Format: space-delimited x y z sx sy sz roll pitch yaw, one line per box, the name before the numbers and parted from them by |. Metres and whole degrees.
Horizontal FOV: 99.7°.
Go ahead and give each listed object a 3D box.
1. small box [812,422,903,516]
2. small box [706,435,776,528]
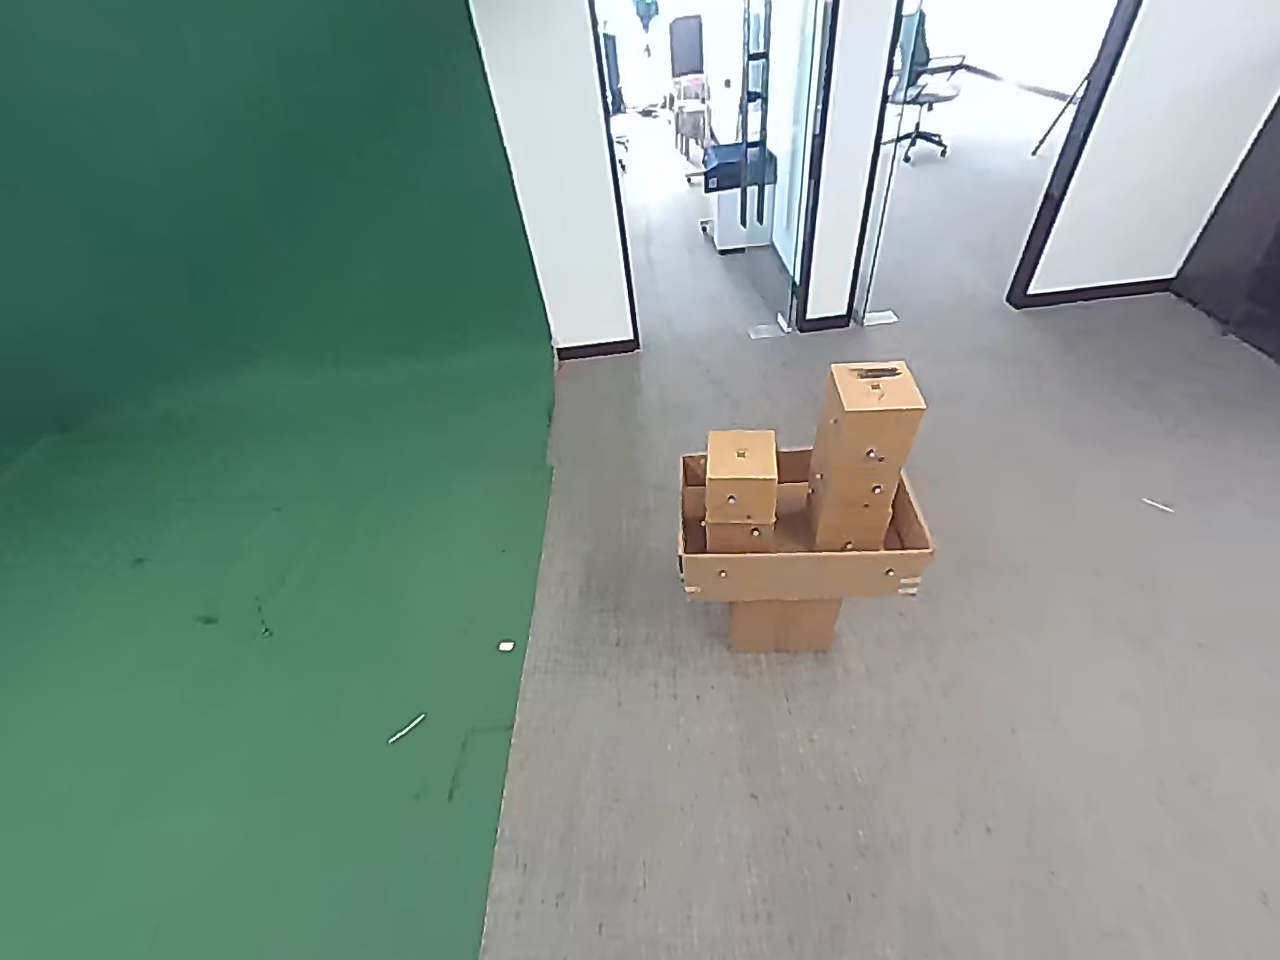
small box | 0.532 -0.024 1.349 0.168 0.176 0.179 -1 44 7
small box | 0.255 0.005 1.365 0.168 0.176 0.179 0 44 9
